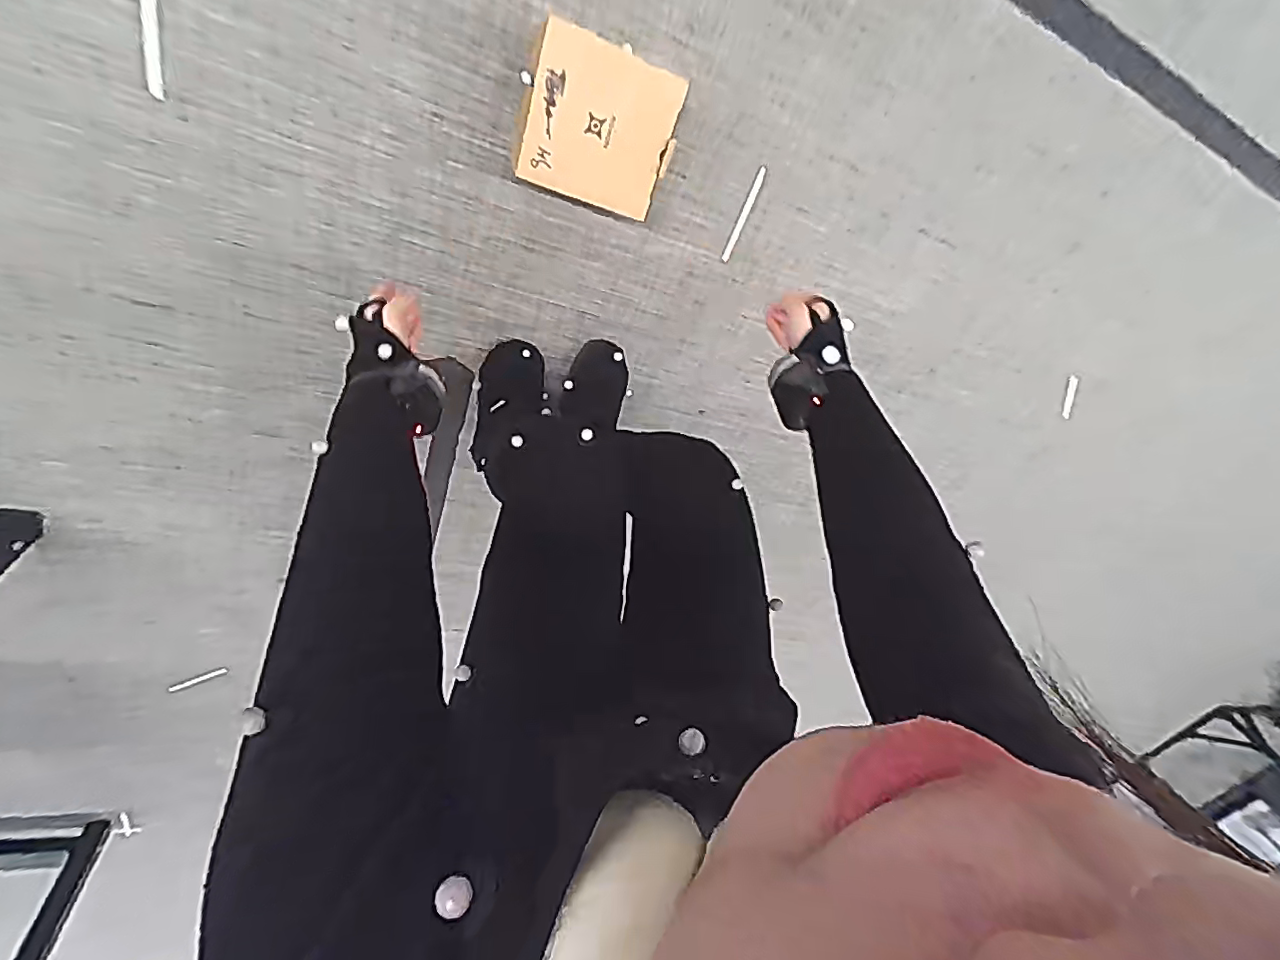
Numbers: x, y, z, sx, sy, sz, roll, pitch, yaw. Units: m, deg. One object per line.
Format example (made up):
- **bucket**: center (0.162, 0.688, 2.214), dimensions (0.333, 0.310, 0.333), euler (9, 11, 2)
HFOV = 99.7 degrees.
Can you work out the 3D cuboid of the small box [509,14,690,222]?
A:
- **small box**: center (-0.065, -0.467, 0.706), dimensions (0.179, 0.176, 0.168), euler (10, 123, -23)
